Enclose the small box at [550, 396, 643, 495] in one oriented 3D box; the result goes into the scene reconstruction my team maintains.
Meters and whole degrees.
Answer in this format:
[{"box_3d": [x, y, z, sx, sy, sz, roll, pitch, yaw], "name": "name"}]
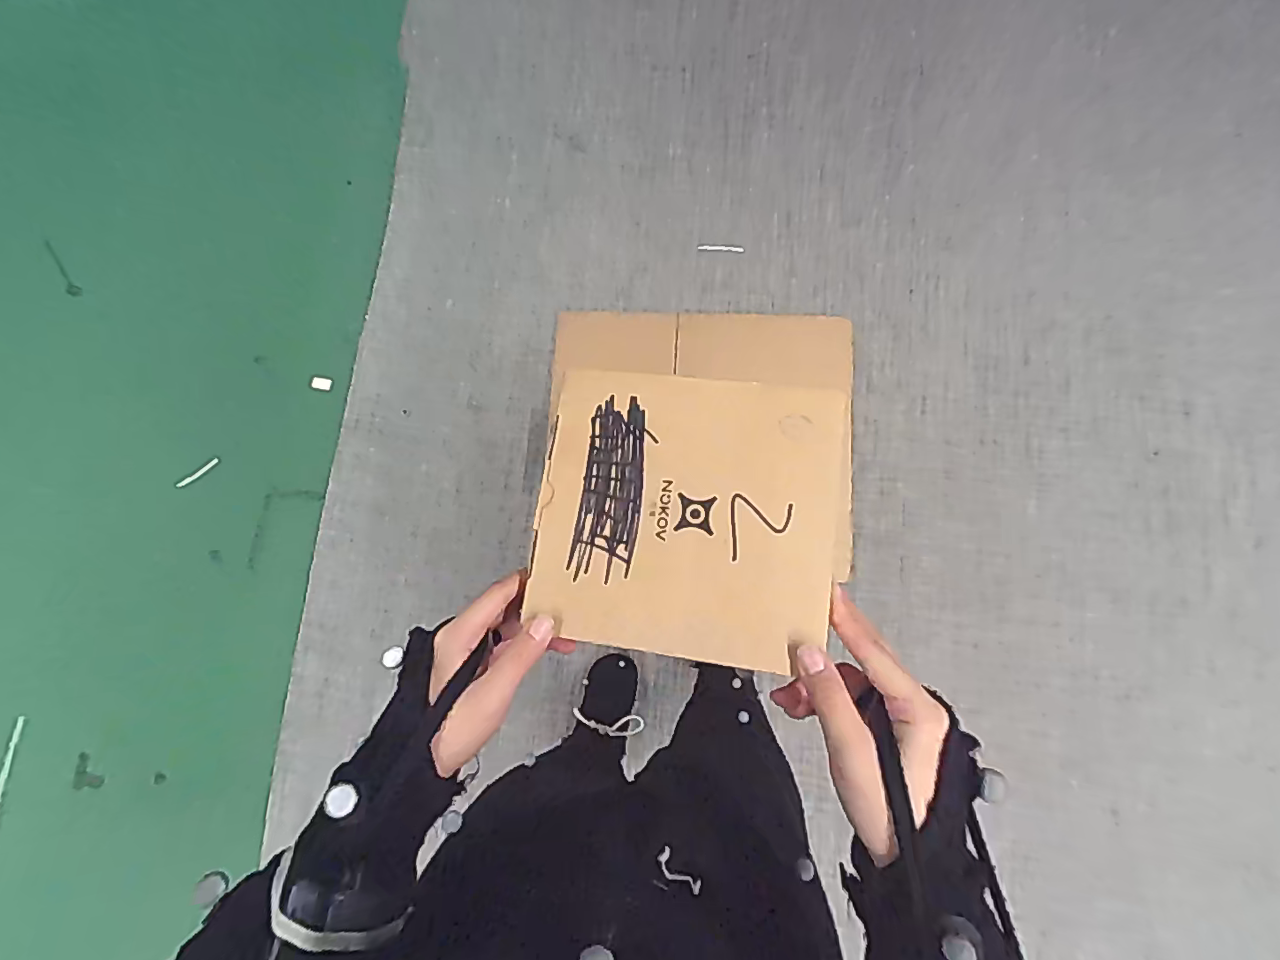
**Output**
[{"box_3d": [-0.086, -0.069, 1.162, 0.168, 0.176, 0.179, 3, 83, 6], "name": "small box"}]
